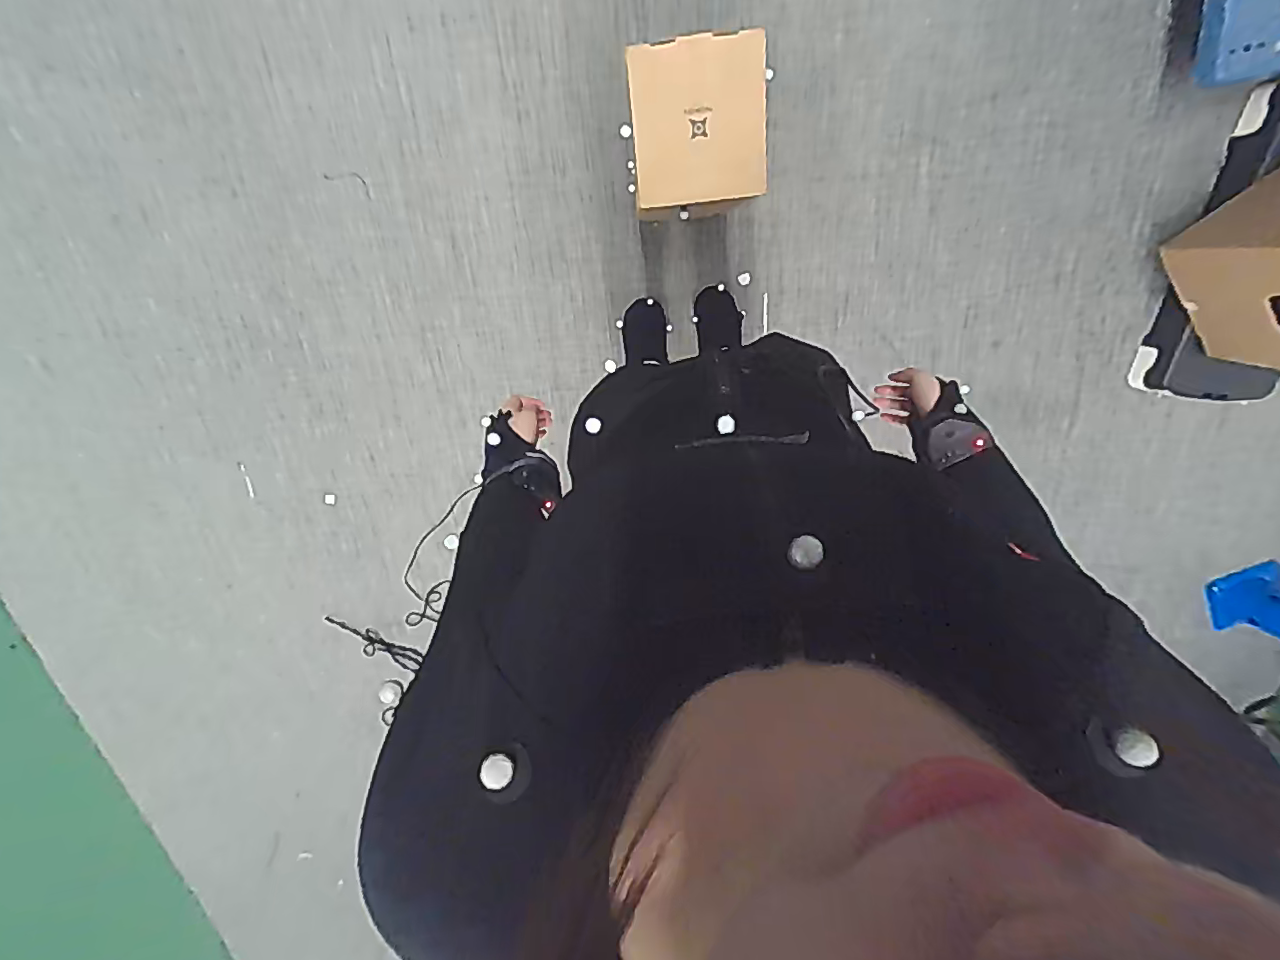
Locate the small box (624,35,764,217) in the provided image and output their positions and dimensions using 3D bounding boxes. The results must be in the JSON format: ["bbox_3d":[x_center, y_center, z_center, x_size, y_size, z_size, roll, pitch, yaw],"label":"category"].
[{"bbox_3d":[0.074,-0.462,0.736,0.168,0.176,0.179,-5,113,4],"label":"small box"}]
